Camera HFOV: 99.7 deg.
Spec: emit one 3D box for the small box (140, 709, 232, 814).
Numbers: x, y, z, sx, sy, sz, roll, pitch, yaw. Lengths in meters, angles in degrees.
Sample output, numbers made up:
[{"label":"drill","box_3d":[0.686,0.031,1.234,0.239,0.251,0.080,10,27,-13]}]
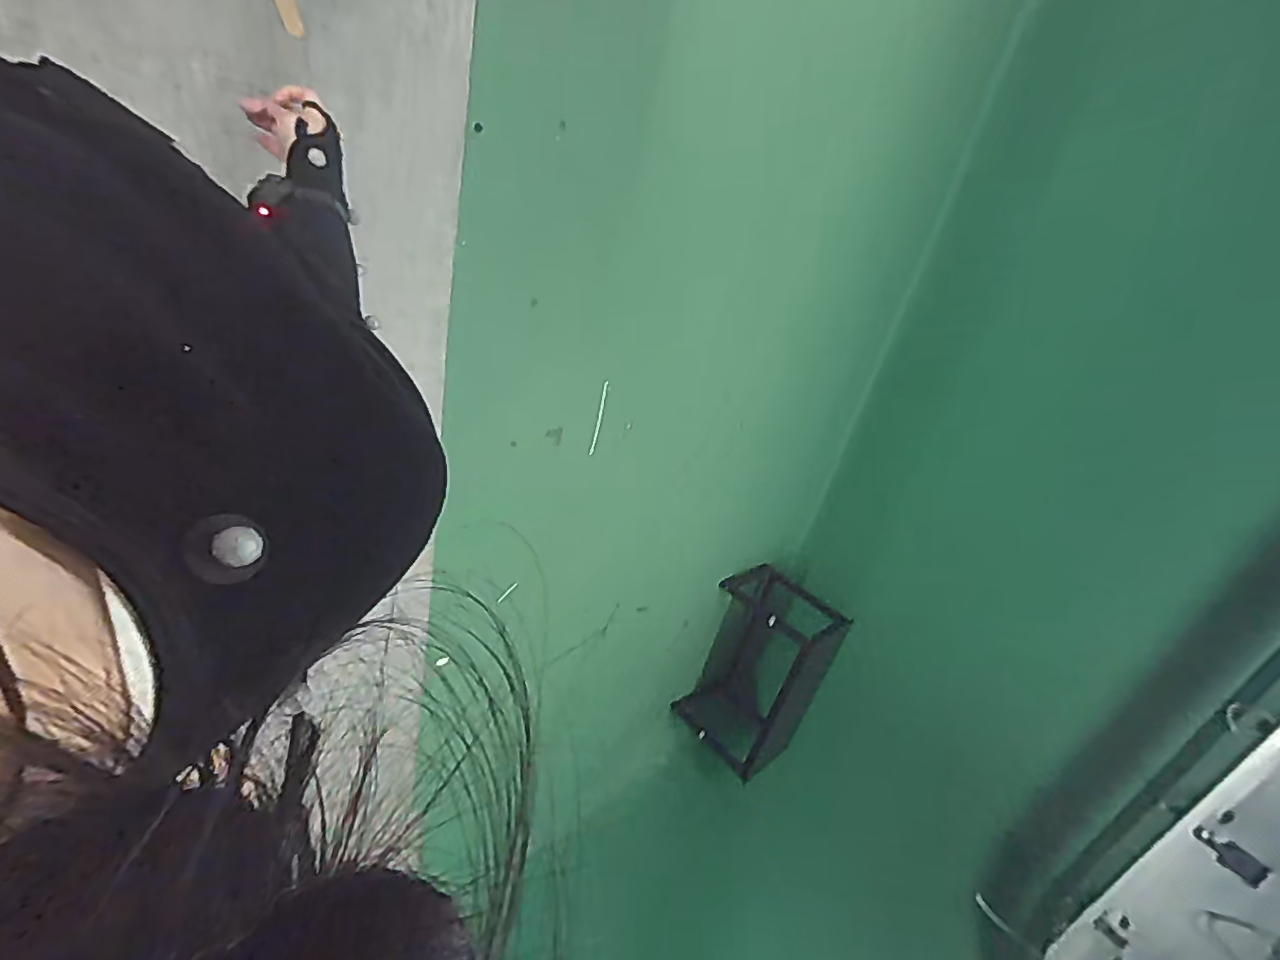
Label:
[{"label":"small box","box_3d":[-1.287,0.784,1.533,0.168,0.176,0.179,-14,128,-42]}]
